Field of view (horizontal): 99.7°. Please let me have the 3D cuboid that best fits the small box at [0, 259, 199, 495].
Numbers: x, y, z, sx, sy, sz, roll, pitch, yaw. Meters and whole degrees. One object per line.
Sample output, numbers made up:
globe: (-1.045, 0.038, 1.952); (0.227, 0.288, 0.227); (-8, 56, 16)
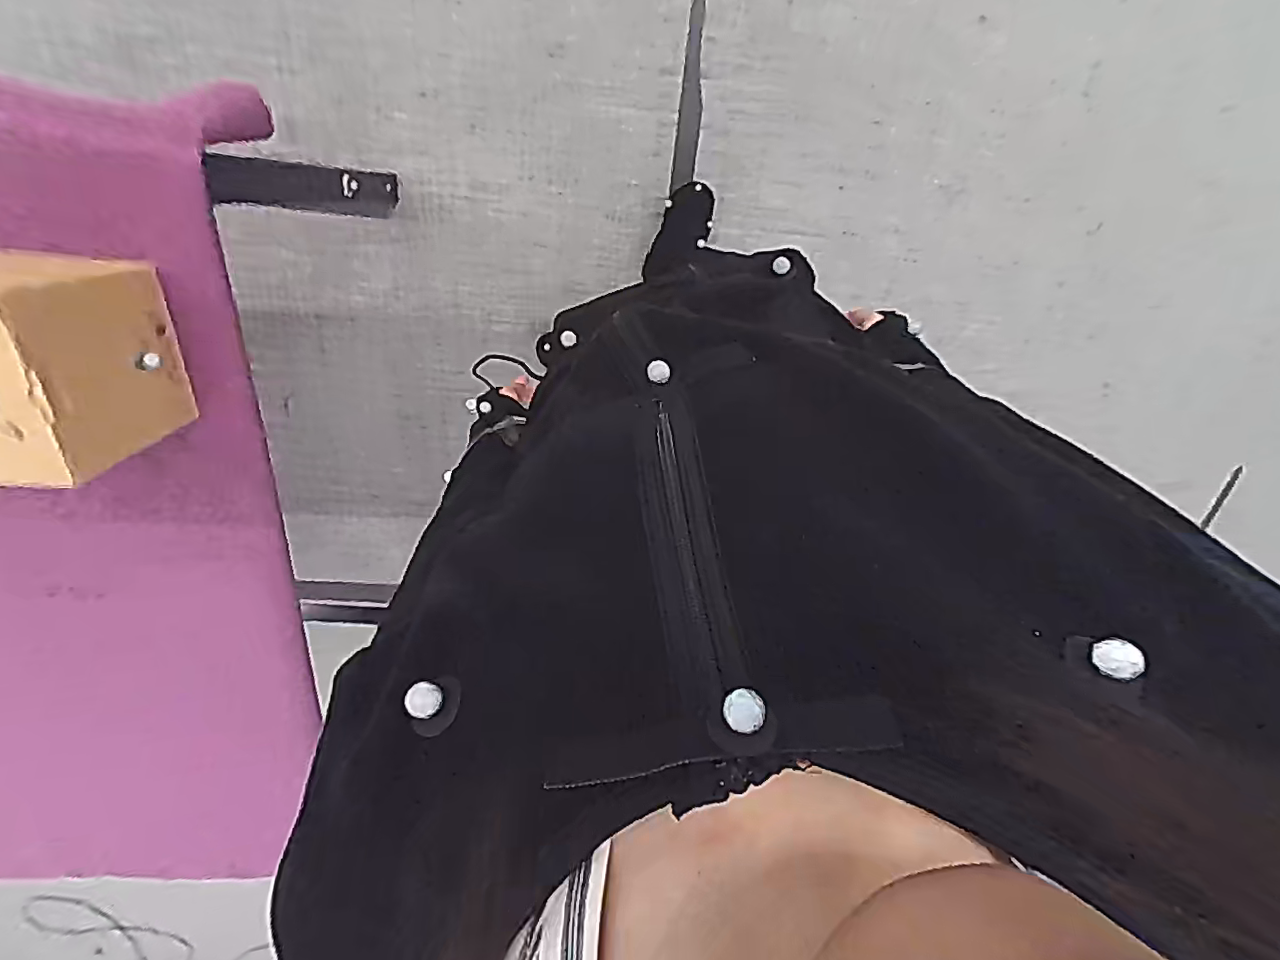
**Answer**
small box: (-0.566, -0.101, 0.494); (0.179, 0.176, 0.168); (3, 118, -6)
